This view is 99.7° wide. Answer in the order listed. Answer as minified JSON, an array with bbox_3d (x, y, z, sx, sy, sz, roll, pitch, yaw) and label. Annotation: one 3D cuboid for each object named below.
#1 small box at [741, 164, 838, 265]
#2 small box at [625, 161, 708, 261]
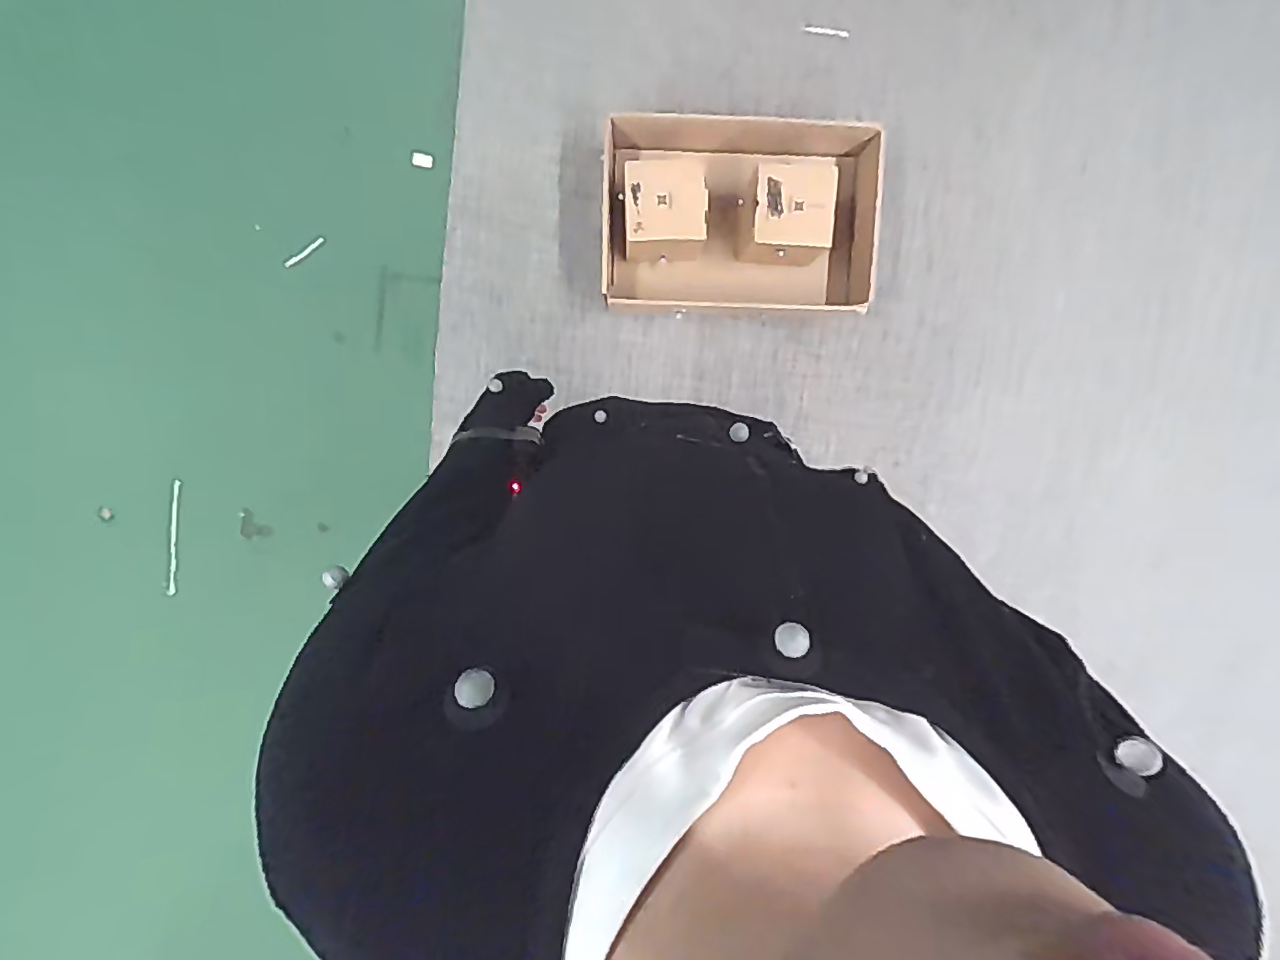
[{"bbox_3d":[0.337,-0.606,1.254,0.179,0.176,0.168,3,98,-1],"label":"small box"},{"bbox_3d":[0.056,-0.612,1.246,0.179,0.176,0.168,-2,97,-2],"label":"small box"}]
